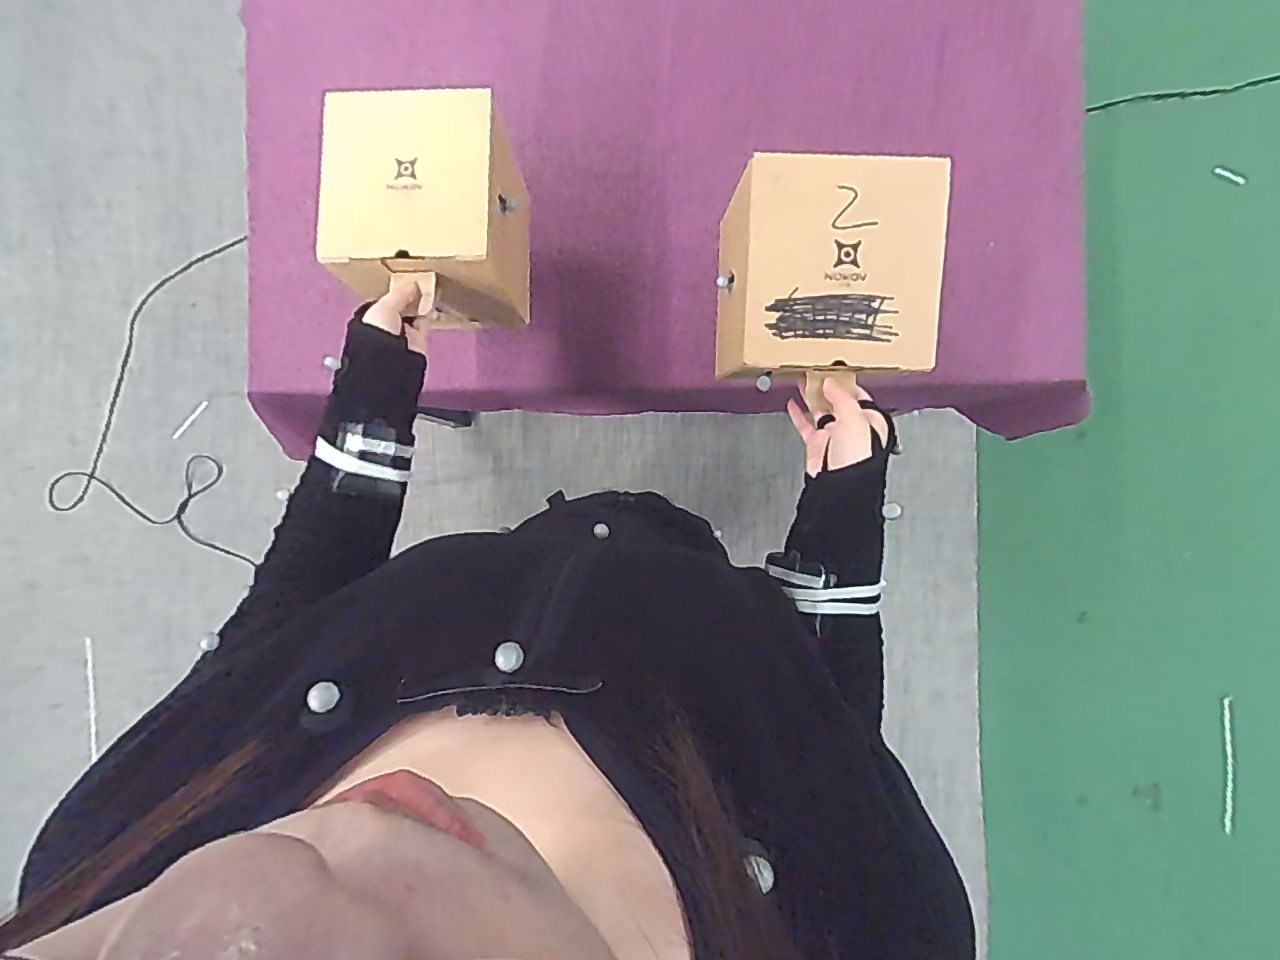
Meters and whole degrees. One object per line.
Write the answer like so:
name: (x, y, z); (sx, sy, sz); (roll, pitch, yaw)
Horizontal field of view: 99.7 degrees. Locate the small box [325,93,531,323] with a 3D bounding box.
small box: (-0.225, -0.295, 0.615); (0.168, 0.176, 0.179); (0, 84, 1)
